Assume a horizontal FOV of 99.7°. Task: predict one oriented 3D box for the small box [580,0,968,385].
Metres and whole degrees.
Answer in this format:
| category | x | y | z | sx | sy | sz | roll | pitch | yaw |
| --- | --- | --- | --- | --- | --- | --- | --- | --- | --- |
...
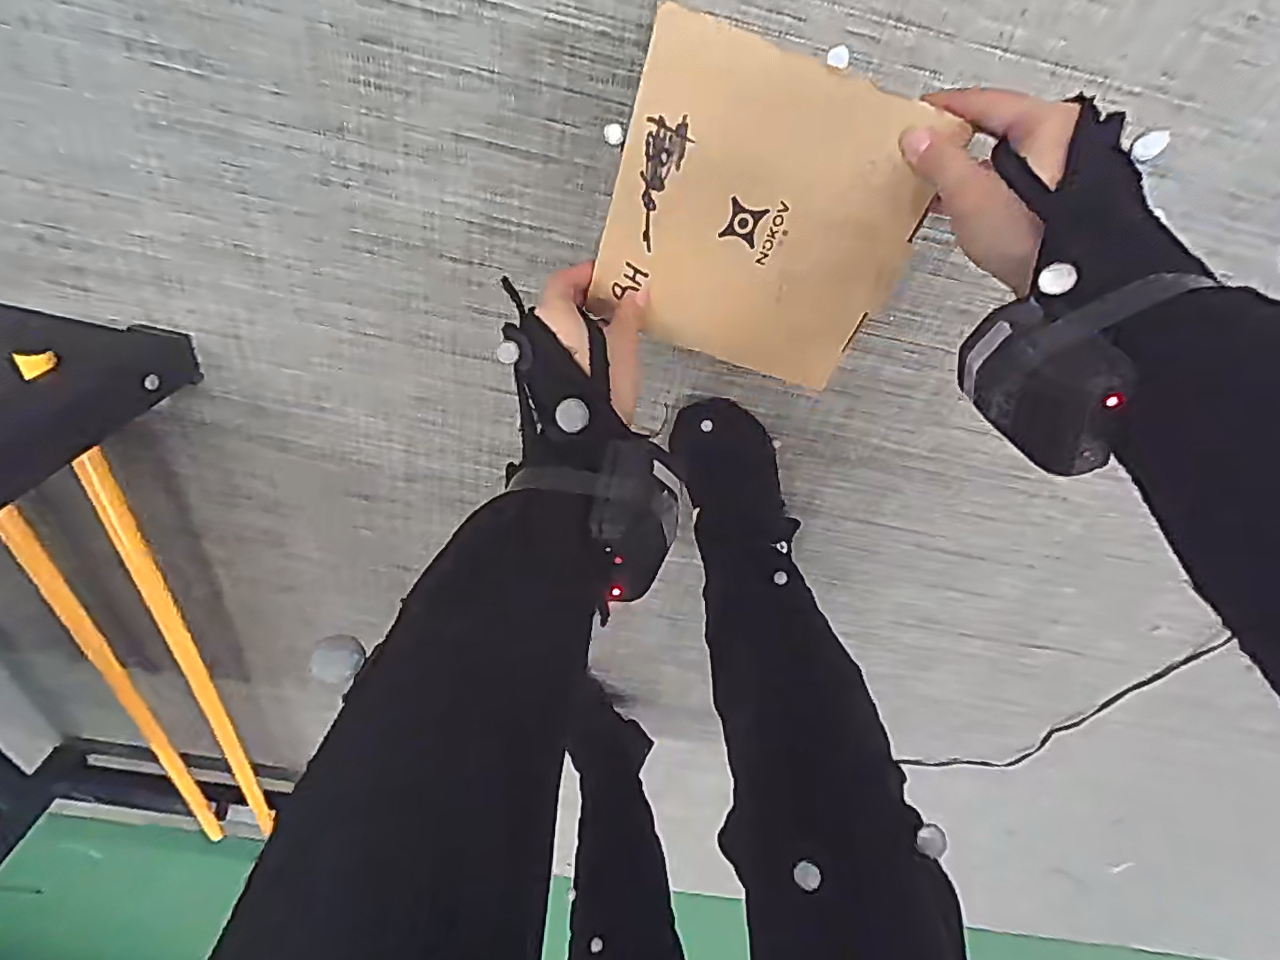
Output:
| category | x | y | z | sx | sy | sz | roll | pitch | yaw |
| --- | --- | --- | --- | --- | --- | --- | --- | --- | --- |
| small box | 0.073 | -0.198 | 0.380 | 0.179 | 0.176 | 0.168 | 17 | 127 | -7 |
